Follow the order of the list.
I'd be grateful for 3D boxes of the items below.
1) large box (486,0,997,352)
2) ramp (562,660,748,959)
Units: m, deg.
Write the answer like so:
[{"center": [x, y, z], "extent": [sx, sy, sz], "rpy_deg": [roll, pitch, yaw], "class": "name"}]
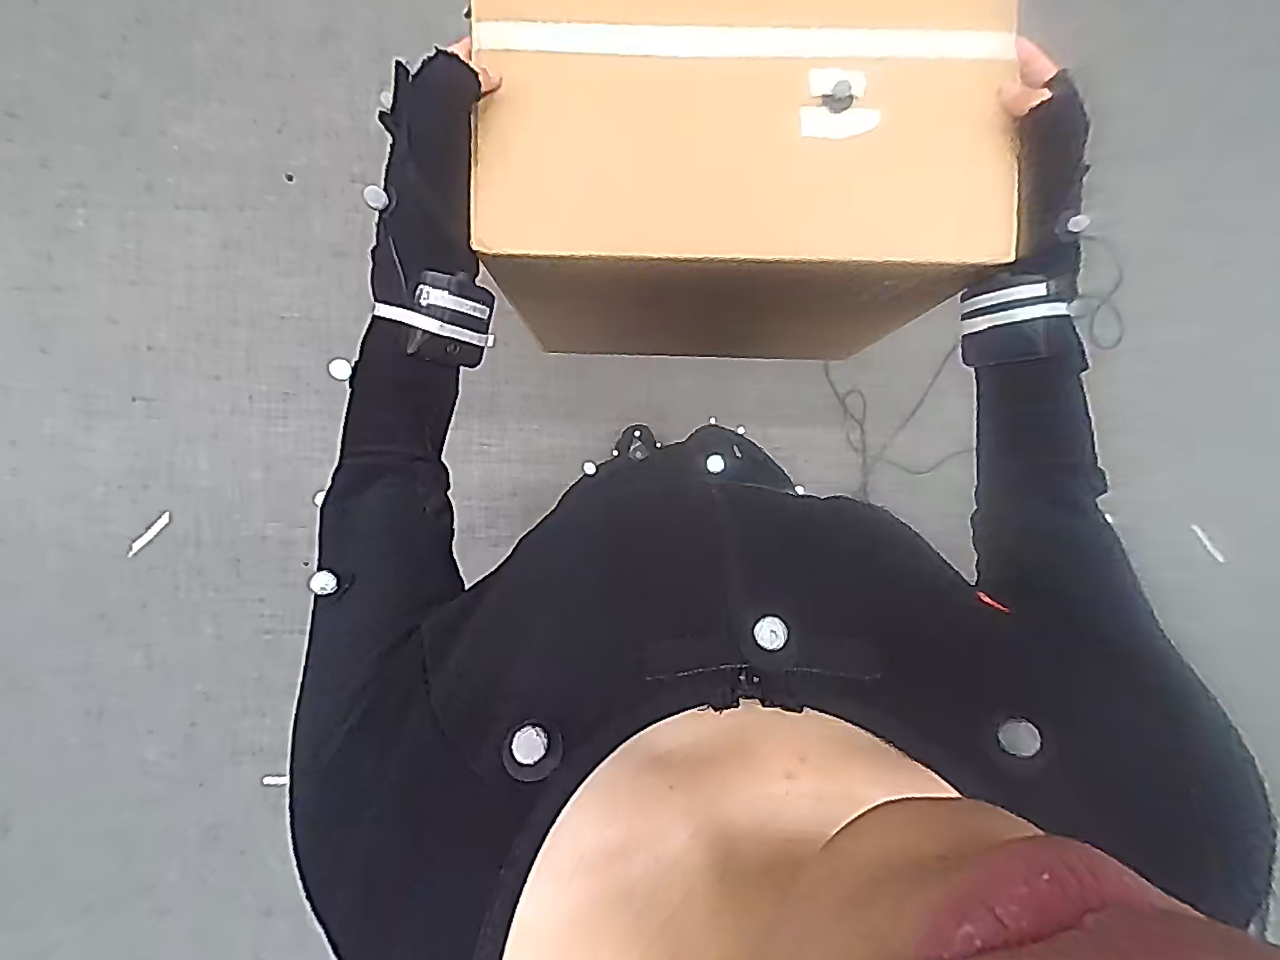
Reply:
[{"center": [0.075, -0.326, 0.568], "extent": [0.408, 0.320, 0.320], "rpy_deg": [1, 89, -1], "class": "large box"}, {"center": [0.040, 1.001, 1.450], "extent": [0.509, 0.206, 0.991], "rpy_deg": [-1, 93, 1], "class": "ramp"}]
